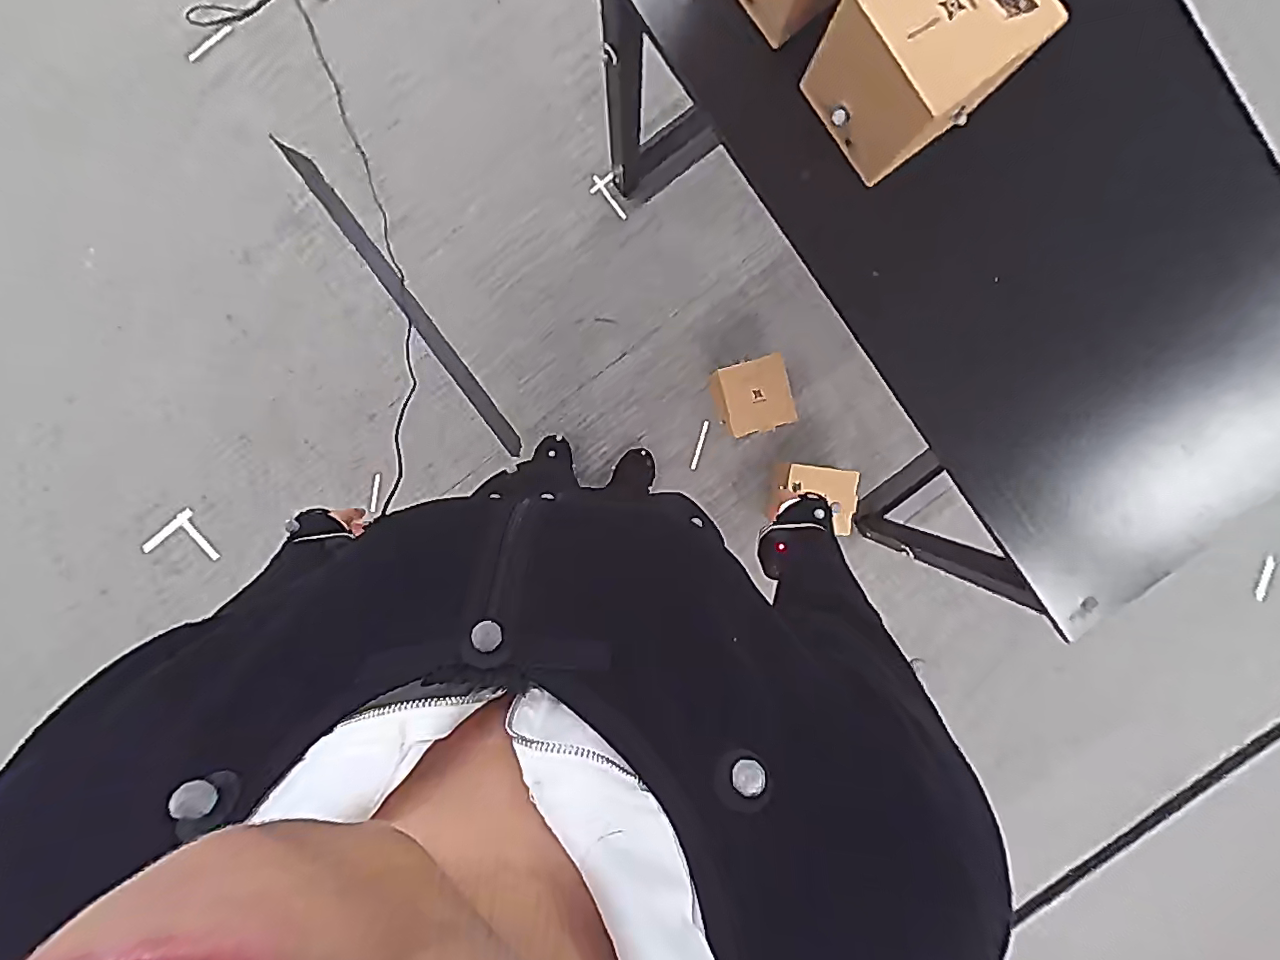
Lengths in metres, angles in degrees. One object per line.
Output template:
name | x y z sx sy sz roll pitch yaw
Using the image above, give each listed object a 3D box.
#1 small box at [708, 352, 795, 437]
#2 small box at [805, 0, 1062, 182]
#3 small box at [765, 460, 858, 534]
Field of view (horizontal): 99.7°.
small box | 0.284 -0.217 1.406 0.168 0.176 0.179 -16 94 0
small box | 0.331 -0.508 0.648 0.179 0.176 0.168 -37 94 3
small box | 0.446 0.039 1.429 0.179 0.176 0.168 7 95 -1
